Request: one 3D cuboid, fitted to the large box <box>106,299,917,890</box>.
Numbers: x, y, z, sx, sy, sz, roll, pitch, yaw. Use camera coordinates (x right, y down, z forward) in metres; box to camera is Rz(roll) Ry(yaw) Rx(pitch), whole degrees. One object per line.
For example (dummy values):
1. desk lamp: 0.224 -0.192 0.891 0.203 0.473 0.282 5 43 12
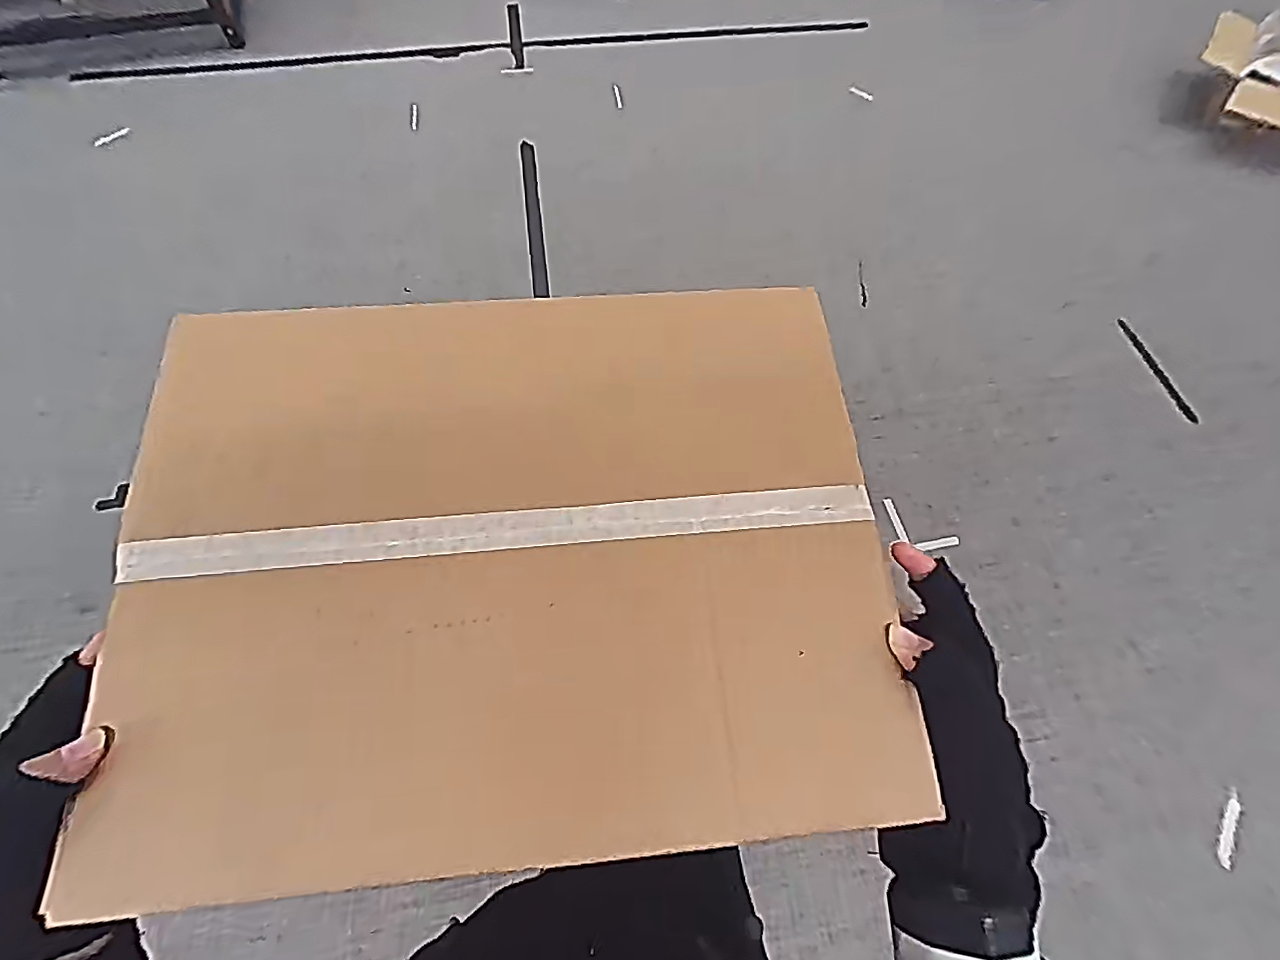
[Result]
1. large box: -0.074 0.082 0.454 0.408 0.320 0.320 -4 71 -4
